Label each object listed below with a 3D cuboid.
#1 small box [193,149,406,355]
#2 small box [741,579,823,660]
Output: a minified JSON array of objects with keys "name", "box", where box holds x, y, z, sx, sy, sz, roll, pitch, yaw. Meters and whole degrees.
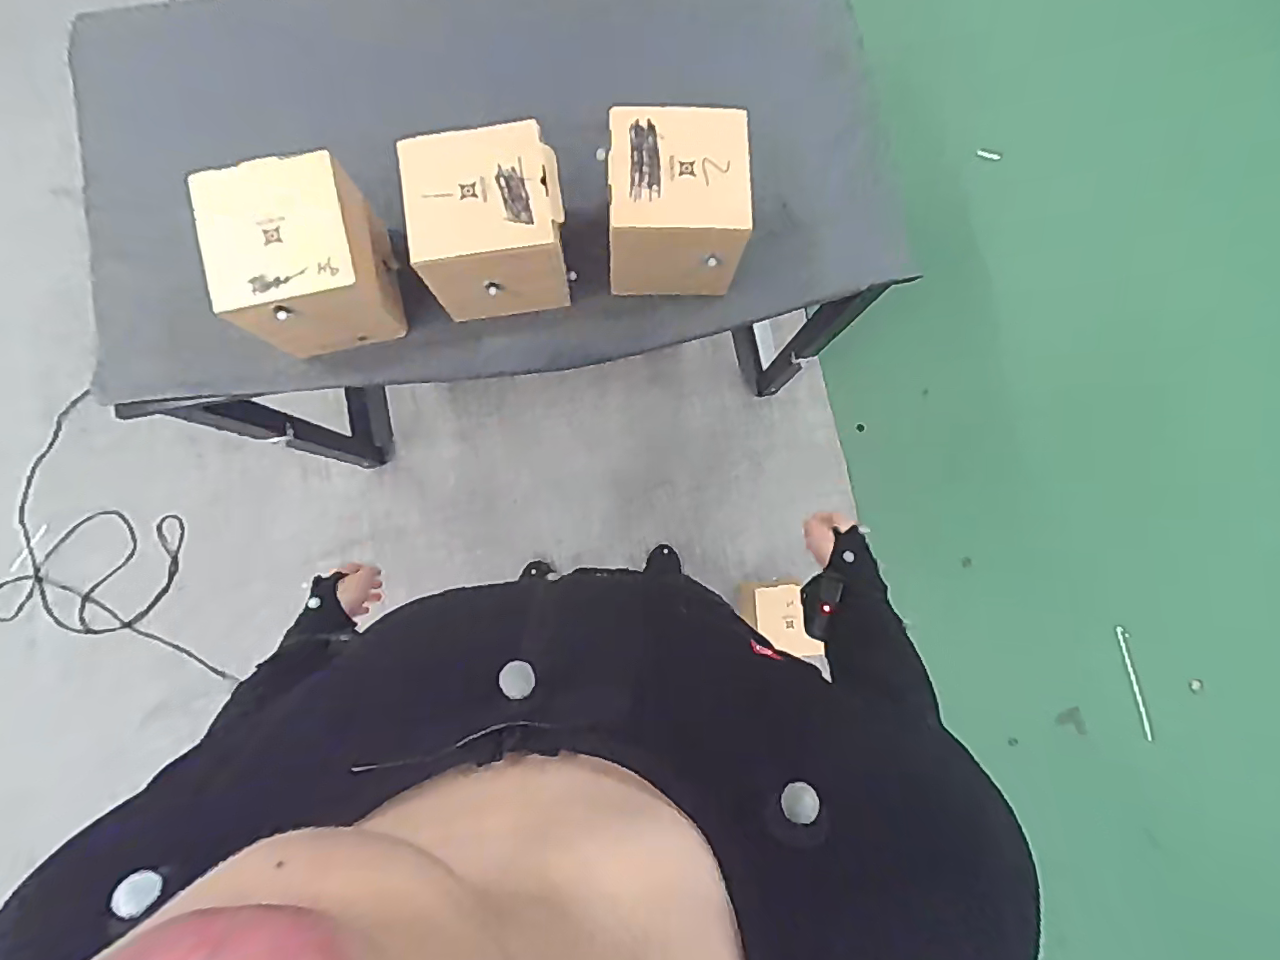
[{"name":"small box","box":[-0.433,-0.287,0.712,0.168,0.176,0.179,-13,84,-3]},{"name":"small box","box":[0.364,0.358,1.409,0.168,0.176,0.179,-3,84,-2]}]
